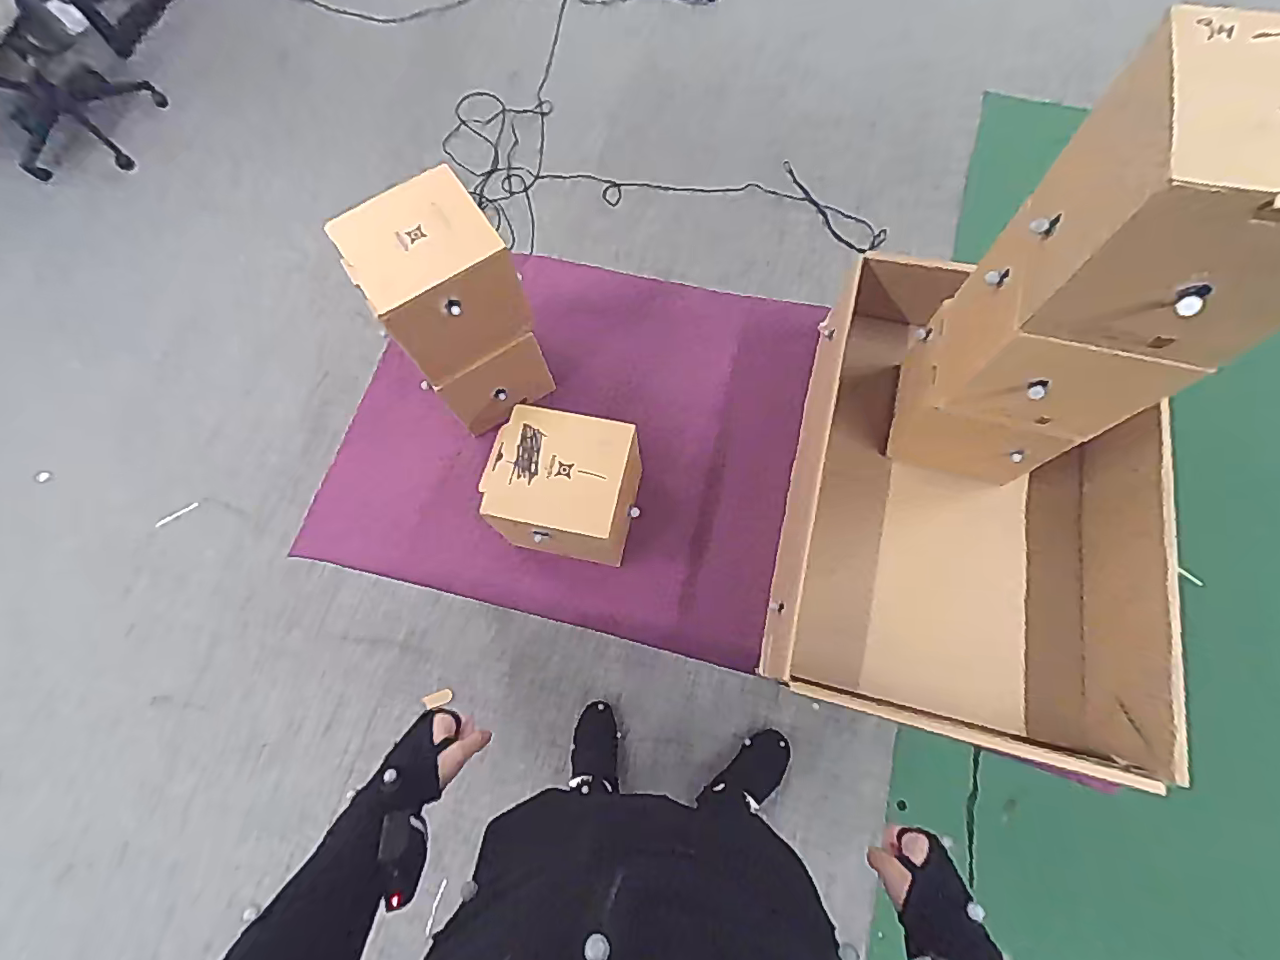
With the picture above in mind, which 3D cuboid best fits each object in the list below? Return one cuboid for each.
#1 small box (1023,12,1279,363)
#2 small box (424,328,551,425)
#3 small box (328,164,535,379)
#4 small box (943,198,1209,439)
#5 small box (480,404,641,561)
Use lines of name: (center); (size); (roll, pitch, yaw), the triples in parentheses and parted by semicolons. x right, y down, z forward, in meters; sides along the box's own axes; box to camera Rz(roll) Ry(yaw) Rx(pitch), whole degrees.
small box: (0.447, -0.219, 0.436); (0.168, 0.176, 0.179); (15, 74, 9)
small box: (-0.264, -0.211, 0.880); (0.168, 0.176, 0.179); (-32, 72, -9)
small box: (-0.266, -0.268, 0.727); (0.179, 0.176, 0.168); (-32, 73, -8)
small box: (0.457, -0.164, 0.591); (0.168, 0.176, 0.179); (15, 73, 9)
small box: (-0.102, 0.012, 0.789); (0.179, 0.176, 0.168); (11, 70, 7)
